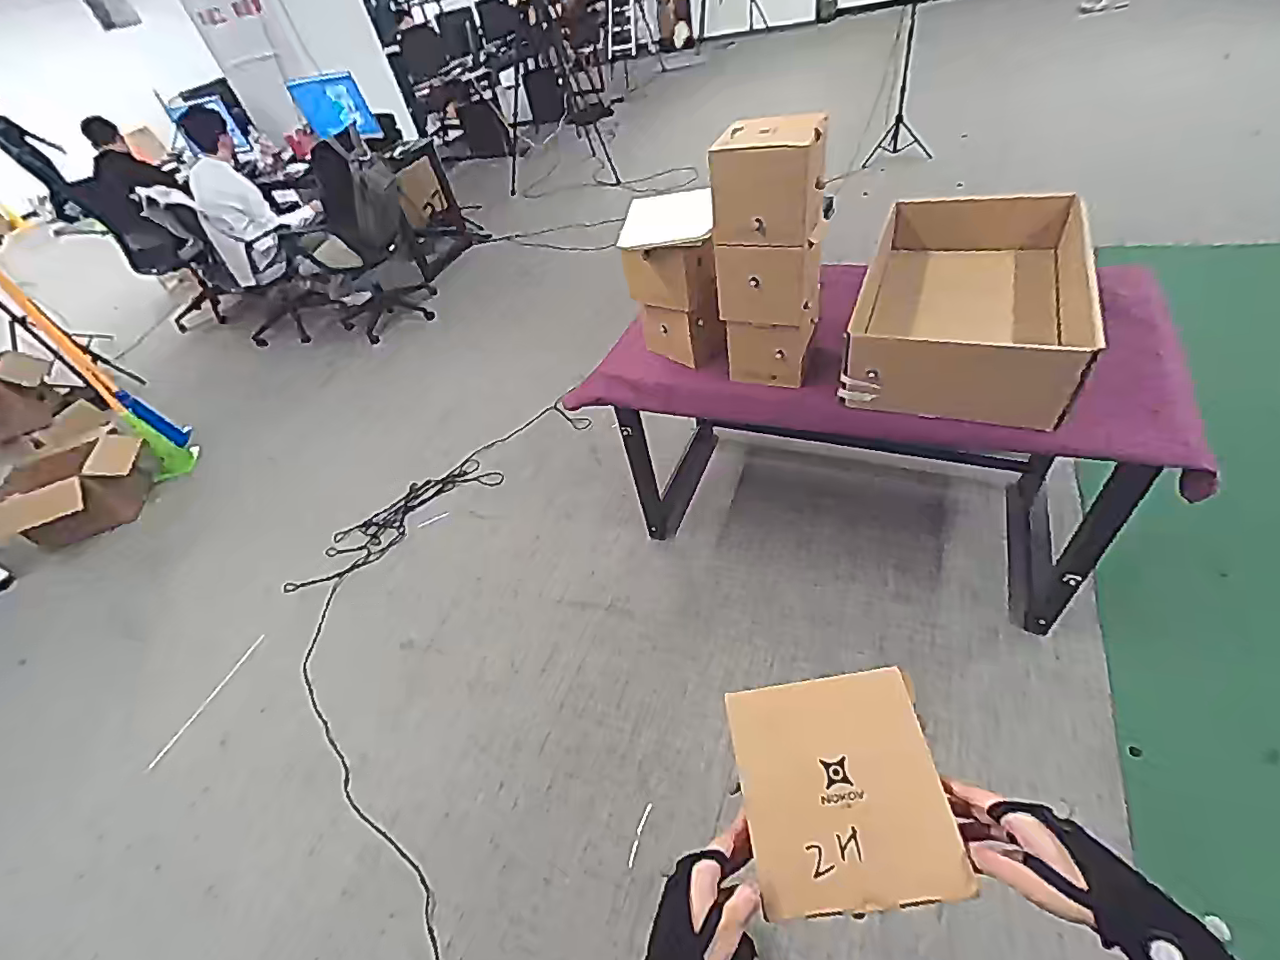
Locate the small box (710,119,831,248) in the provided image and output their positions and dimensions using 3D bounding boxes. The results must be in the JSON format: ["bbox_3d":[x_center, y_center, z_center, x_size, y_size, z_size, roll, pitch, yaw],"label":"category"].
[{"bbox_3d":[0.244,-0.549,1.010,0.179,0.176,0.168,12,50,23],"label":"small box"}]

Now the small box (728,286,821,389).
[{"bbox_3d":[0.313,-0.330,1.244,0.168,0.176,0.179,12,50,24],"label":"small box"}]

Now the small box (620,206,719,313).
[{"bbox_3d":[0.085,-0.506,1.245,0.179,0.176,0.168,22,56,32],"label":"small box"}]

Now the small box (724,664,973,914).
[{"bbox_3d":[0.182,0.300,0.530,0.168,0.176,0.179,-12,56,7],"label":"small box"}]

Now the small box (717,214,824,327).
[{"bbox_3d":[0.272,-0.436,1.125,0.179,0.176,0.168,12,49,23],"label":"small box"}]
